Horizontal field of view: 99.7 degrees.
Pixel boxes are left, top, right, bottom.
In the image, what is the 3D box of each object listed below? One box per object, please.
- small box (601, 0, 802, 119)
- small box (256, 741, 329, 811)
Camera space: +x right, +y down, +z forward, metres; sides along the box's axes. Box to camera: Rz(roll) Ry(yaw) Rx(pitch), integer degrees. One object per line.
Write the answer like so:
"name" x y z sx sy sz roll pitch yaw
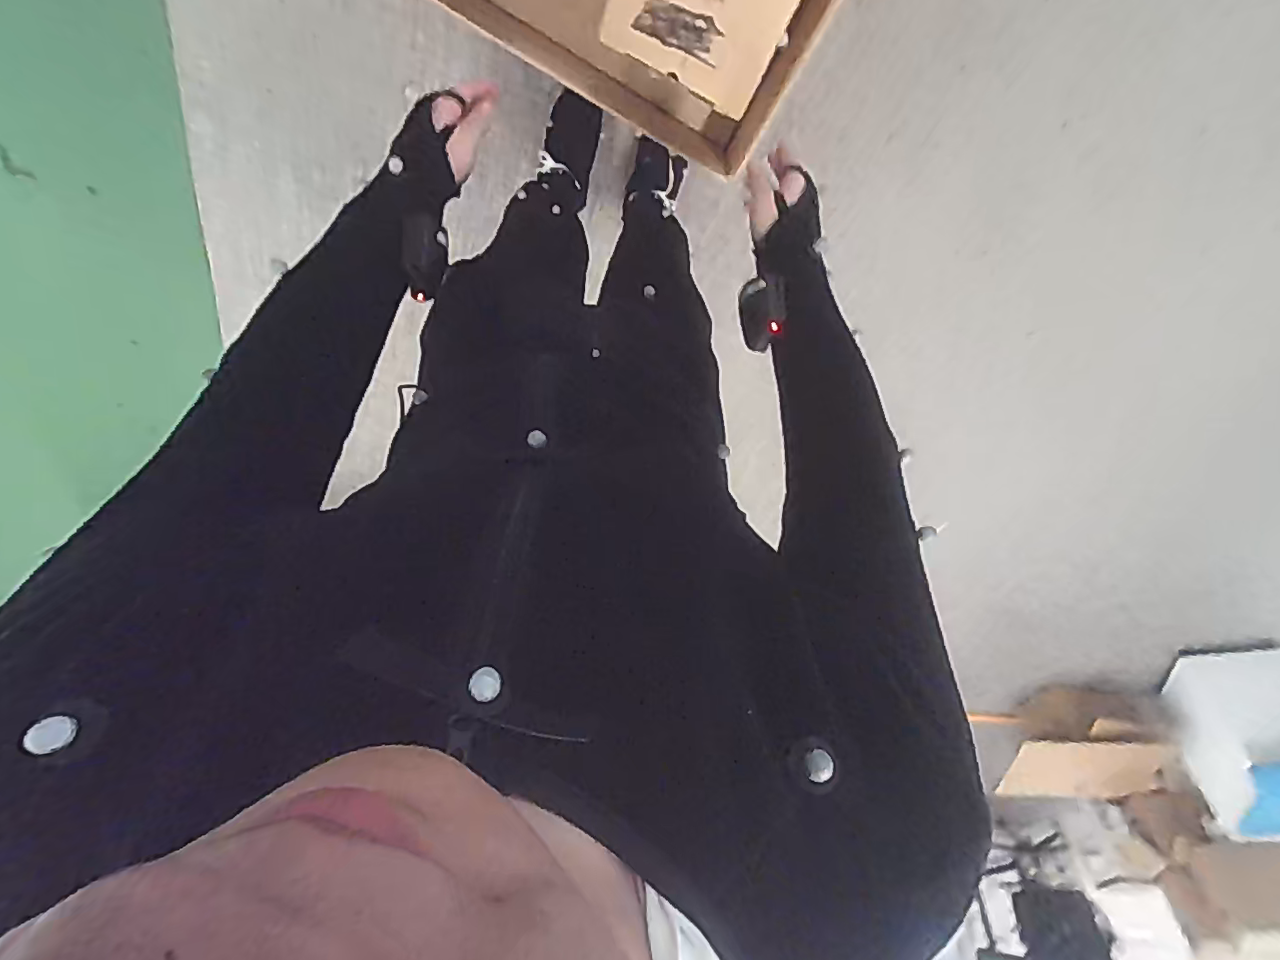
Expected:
"small box" 0.077 -0.517 0.551 0.168 0.176 0.179 21 132 -14
"small box" -1.278 1.097 2.004 0.168 0.176 0.179 17 132 -10
